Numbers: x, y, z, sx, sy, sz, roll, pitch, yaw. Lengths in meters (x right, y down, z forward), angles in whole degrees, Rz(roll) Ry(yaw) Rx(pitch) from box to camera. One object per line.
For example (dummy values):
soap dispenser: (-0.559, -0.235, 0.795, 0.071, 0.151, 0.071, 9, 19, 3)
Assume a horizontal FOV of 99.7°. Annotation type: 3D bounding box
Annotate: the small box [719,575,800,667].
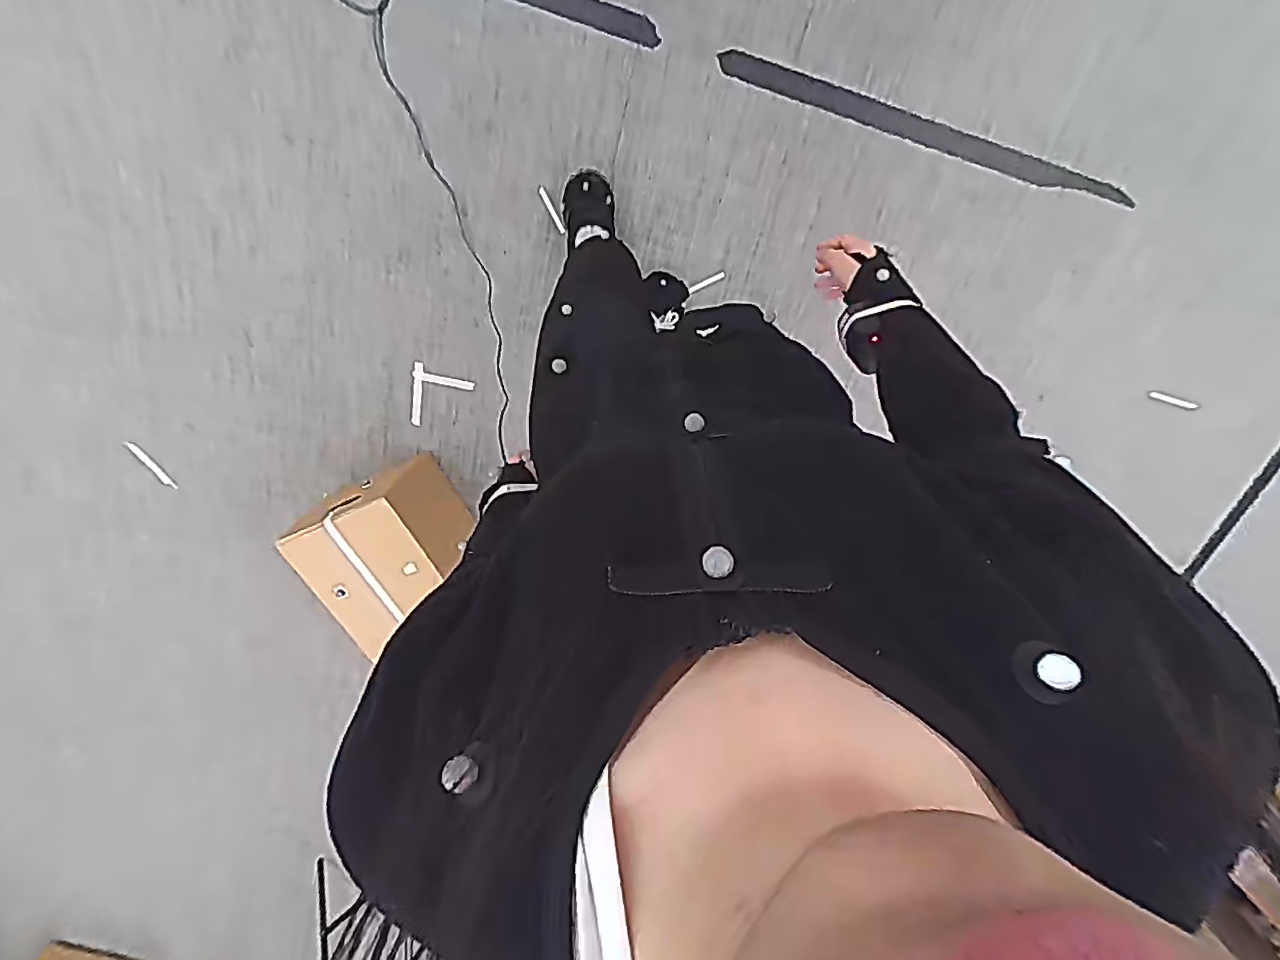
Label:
small box: (0.353, 0.417, 1.615, 0.168, 0.176, 0.179, -25, 113, 8)
